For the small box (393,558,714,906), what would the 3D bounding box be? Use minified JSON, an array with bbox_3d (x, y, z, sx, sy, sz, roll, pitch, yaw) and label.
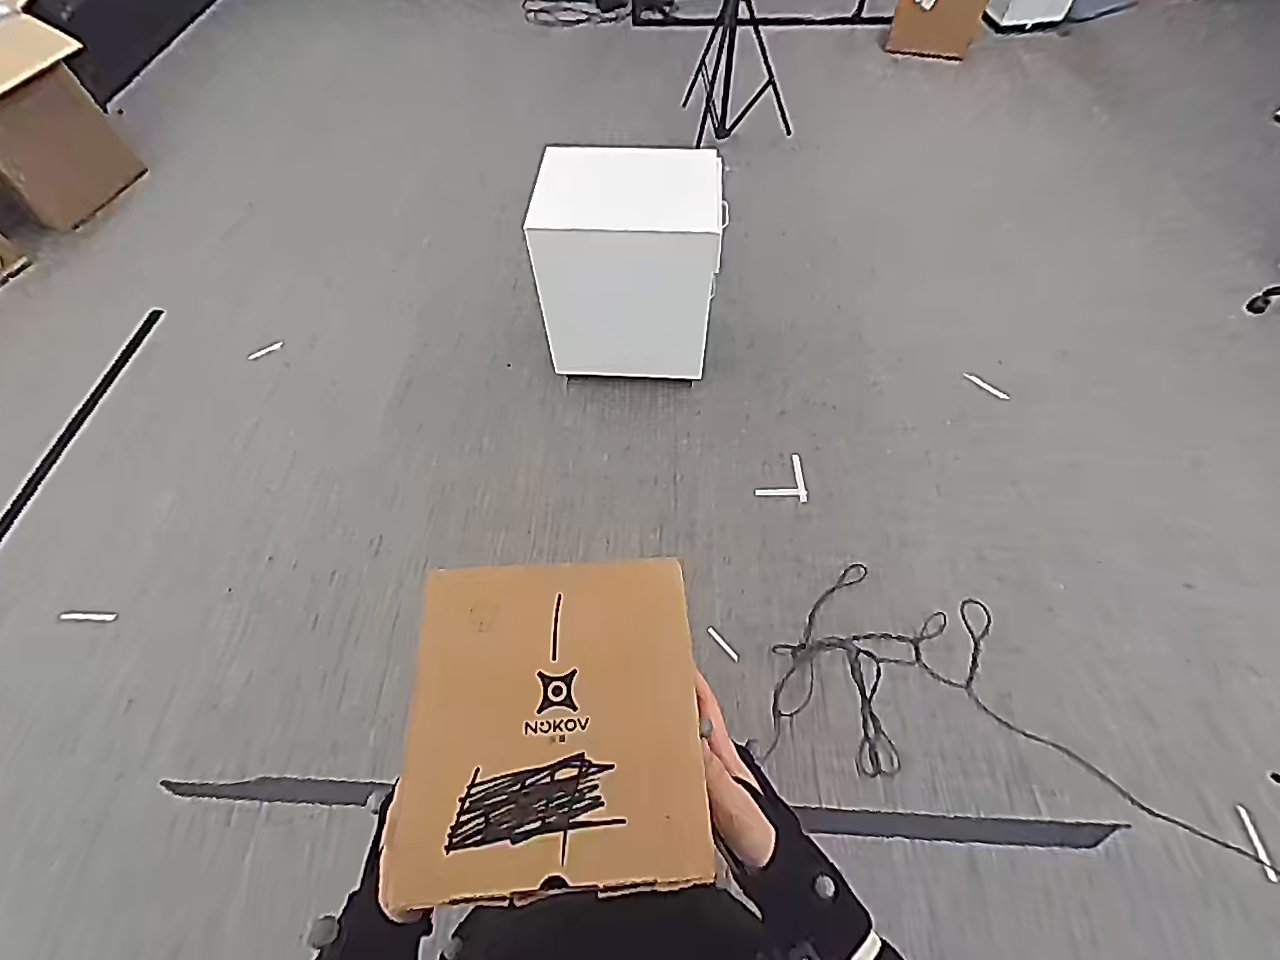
[{"bbox_3d":[-0.050,0.169,0.380,0.168,0.176,0.179,-2,60,-4],"label":"small box"}]
